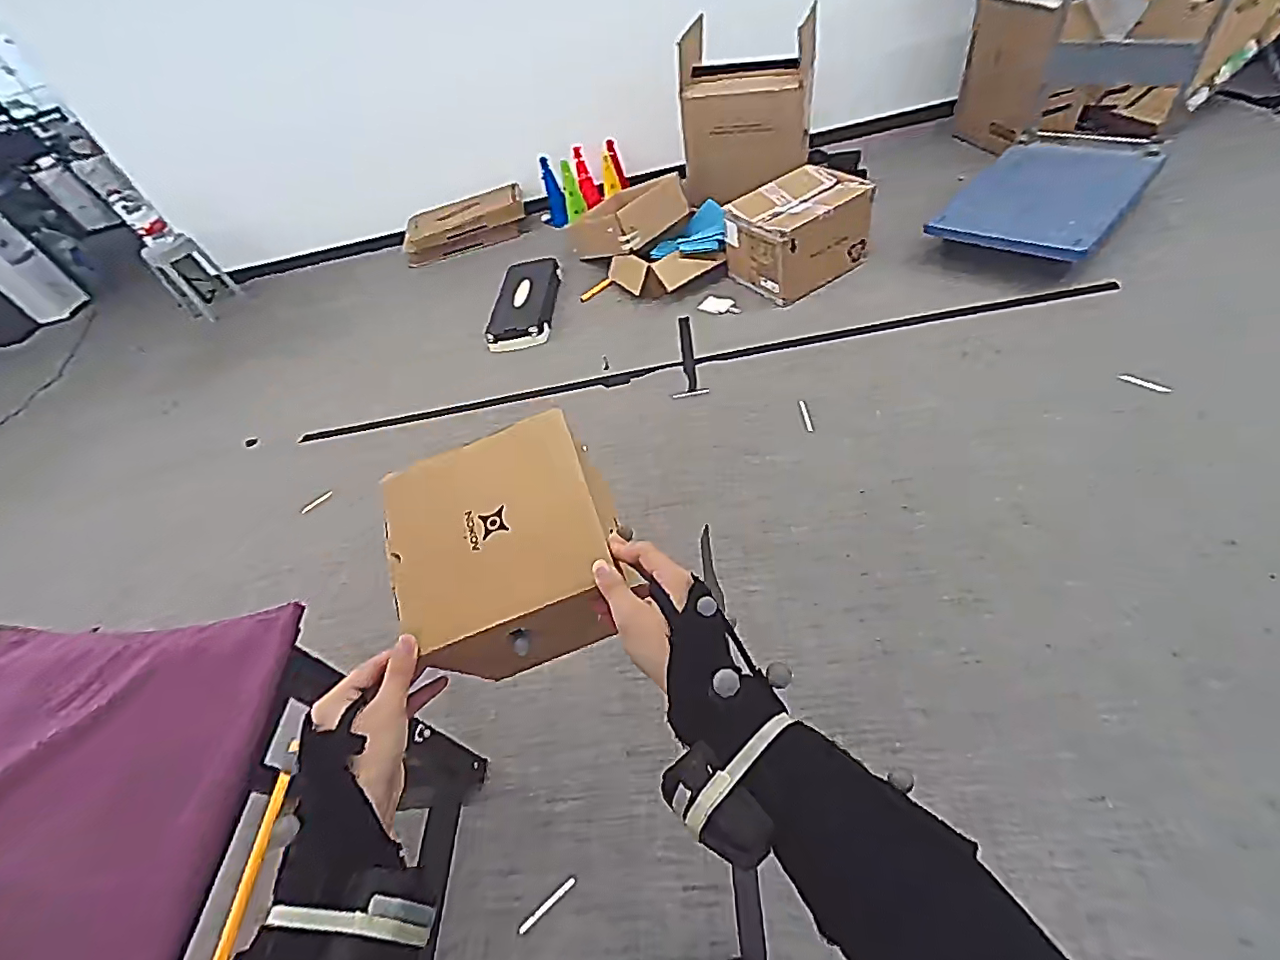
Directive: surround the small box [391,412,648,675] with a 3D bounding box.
[{"bbox_3d":[-0.100,0.070,0.510,0.179,0.176,0.168,-22,63,2],"label":"small box"}]
